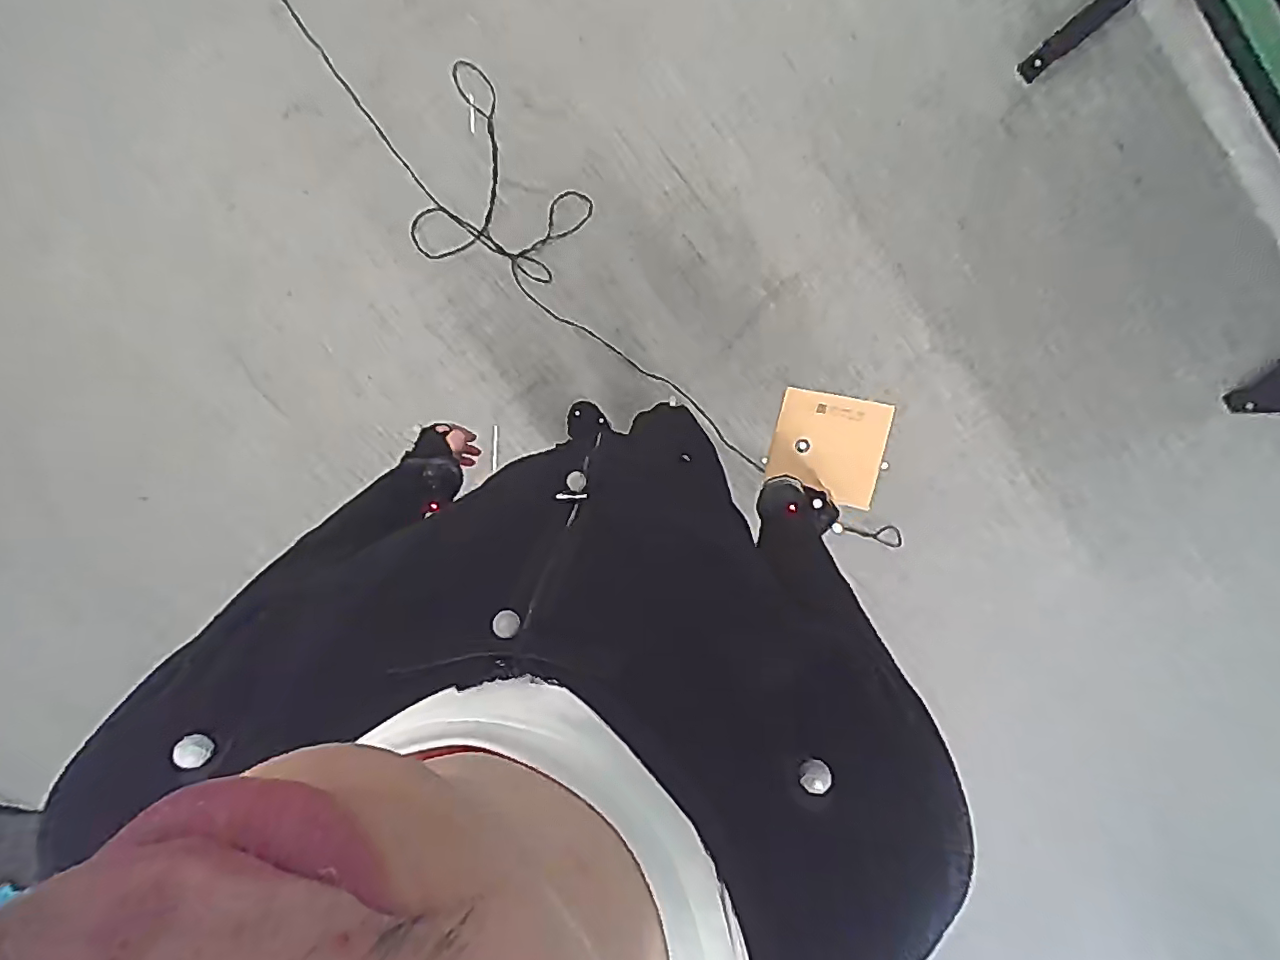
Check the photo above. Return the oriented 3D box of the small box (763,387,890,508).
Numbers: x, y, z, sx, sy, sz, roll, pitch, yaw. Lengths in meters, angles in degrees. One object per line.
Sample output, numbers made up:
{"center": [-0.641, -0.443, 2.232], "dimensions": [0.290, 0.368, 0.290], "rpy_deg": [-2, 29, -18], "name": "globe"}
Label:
{"center": [0.312, -0.057, 0.923], "dimensions": [0.168, 0.179, 0.176], "rpy_deg": [15, 96, 15], "name": "small box"}
